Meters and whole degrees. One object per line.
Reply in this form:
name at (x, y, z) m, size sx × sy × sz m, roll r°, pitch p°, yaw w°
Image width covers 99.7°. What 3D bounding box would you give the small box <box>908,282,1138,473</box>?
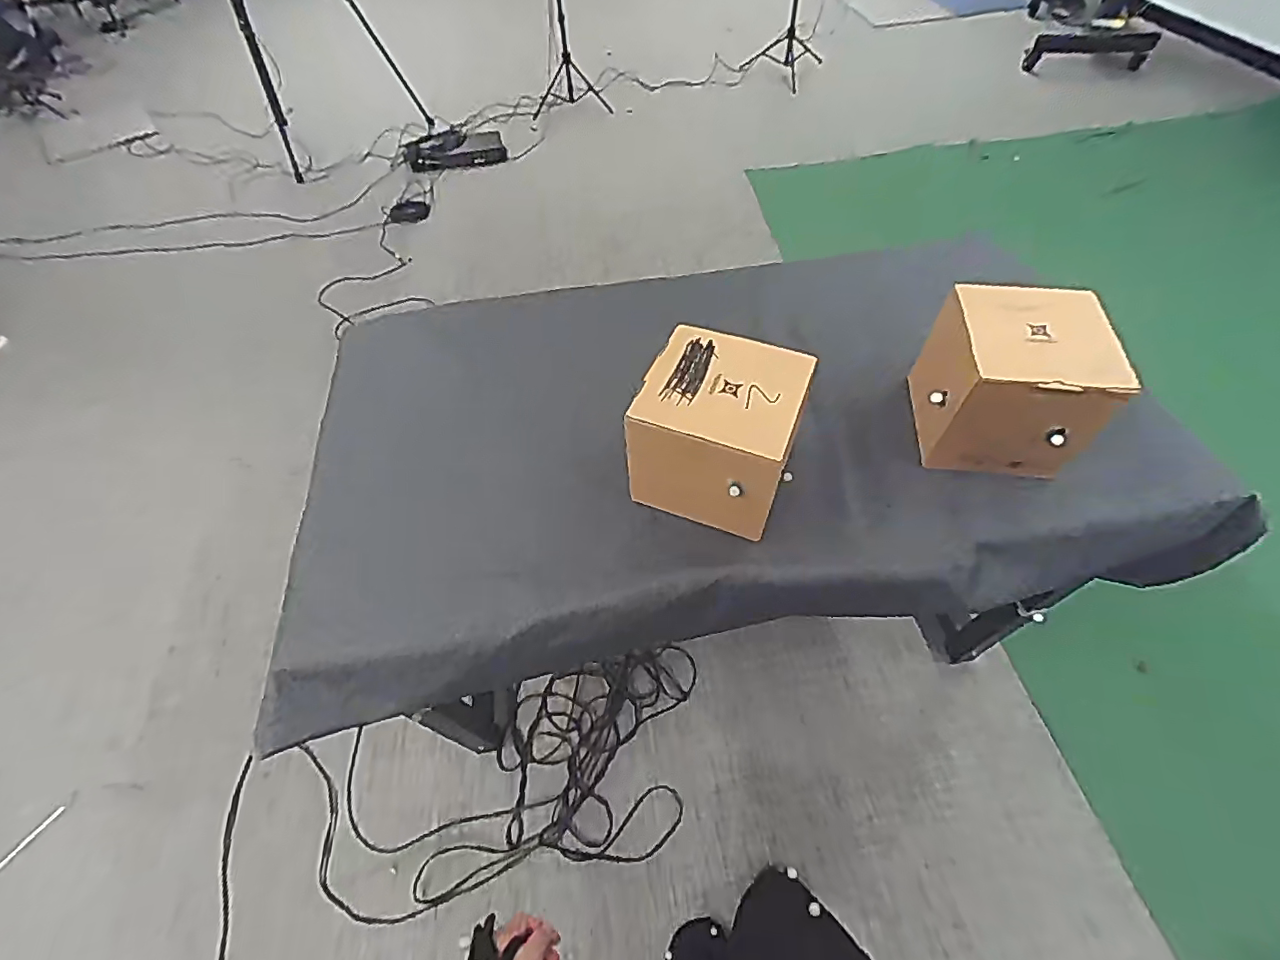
small box at (0.466, -0.127, 0.695) m, size 0.168 × 0.176 × 0.179 m, roll 6°, pitch 54°, yaw 7°
